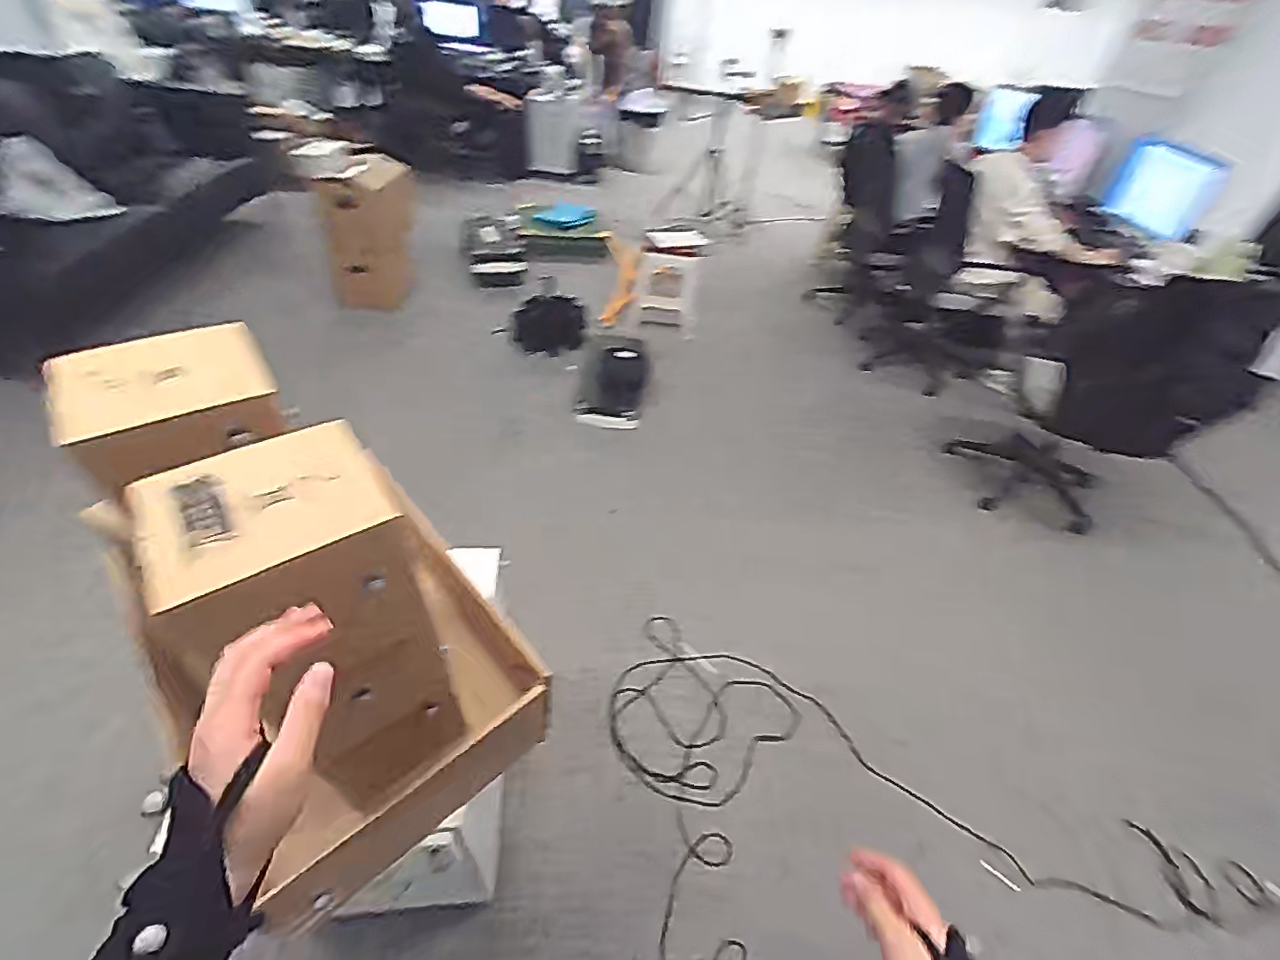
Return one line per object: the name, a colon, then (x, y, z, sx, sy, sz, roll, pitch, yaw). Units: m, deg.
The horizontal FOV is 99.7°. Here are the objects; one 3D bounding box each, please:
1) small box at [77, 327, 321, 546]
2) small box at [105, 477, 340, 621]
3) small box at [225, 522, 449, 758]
small box: (-0.511, -0.054, 0.649, 0.179, 0.176, 0.168, -25, 53, -29)
small box: (-0.554, 0.069, 0.754, 0.168, 0.176, 0.179, 20, 47, 12)
small box: (-0.348, 0.189, 0.653, 0.179, 0.176, 0.168, -29, 52, -30)
